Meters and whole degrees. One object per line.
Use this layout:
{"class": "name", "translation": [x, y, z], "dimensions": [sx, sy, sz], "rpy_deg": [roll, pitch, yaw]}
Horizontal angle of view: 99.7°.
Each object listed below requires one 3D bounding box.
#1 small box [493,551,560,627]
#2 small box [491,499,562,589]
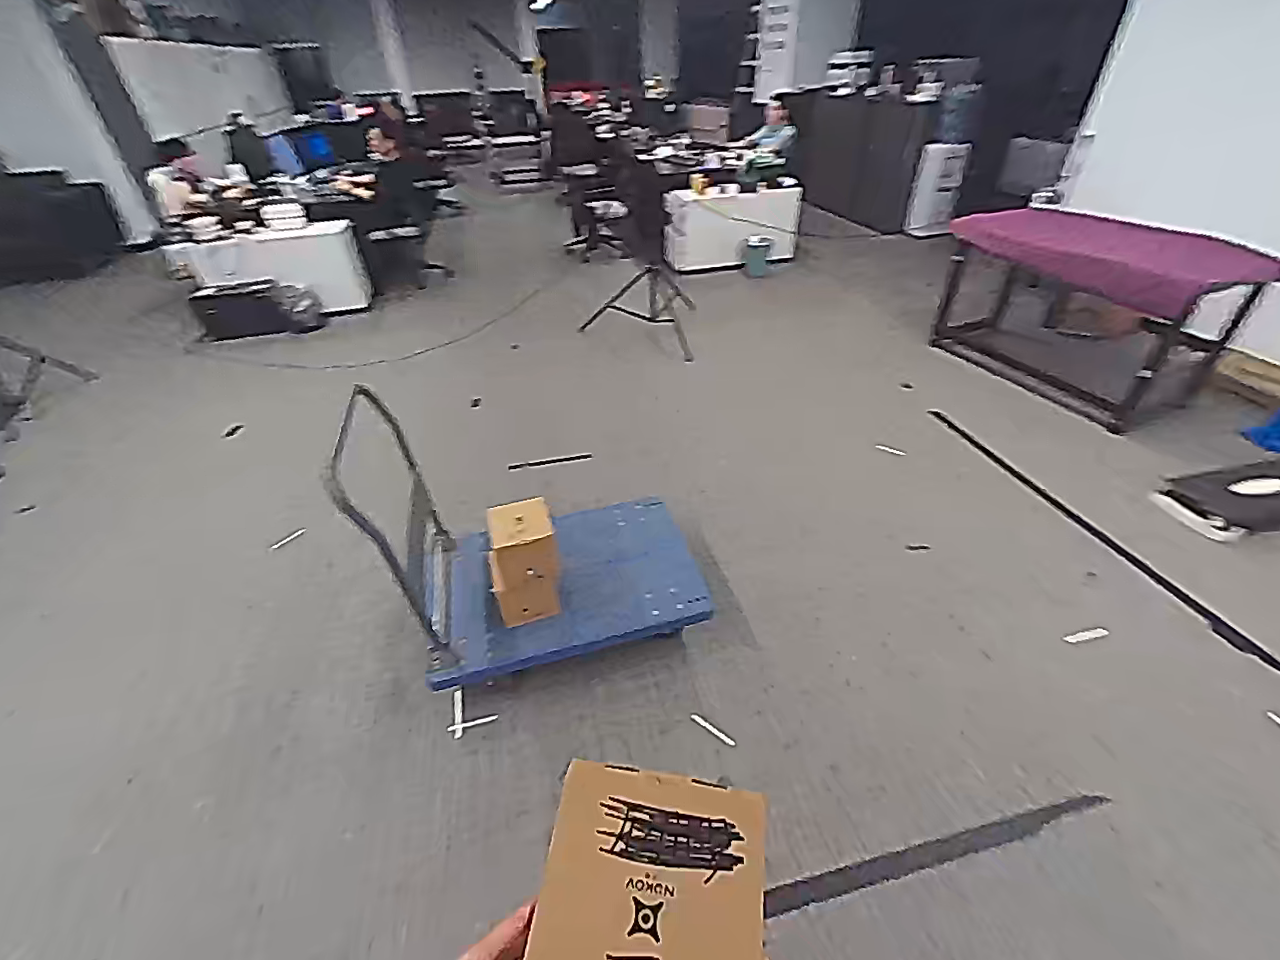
{"class": "small box", "translation": [-0.348, 0.319, 1.662], "dimensions": [0.168, 0.176, 0.179], "rpy_deg": [-13, 40, -13]}
{"class": "small box", "translation": [-0.329, 0.184, 1.566], "dimensions": [0.168, 0.176, 0.179], "rpy_deg": [-13, 40, -13]}
